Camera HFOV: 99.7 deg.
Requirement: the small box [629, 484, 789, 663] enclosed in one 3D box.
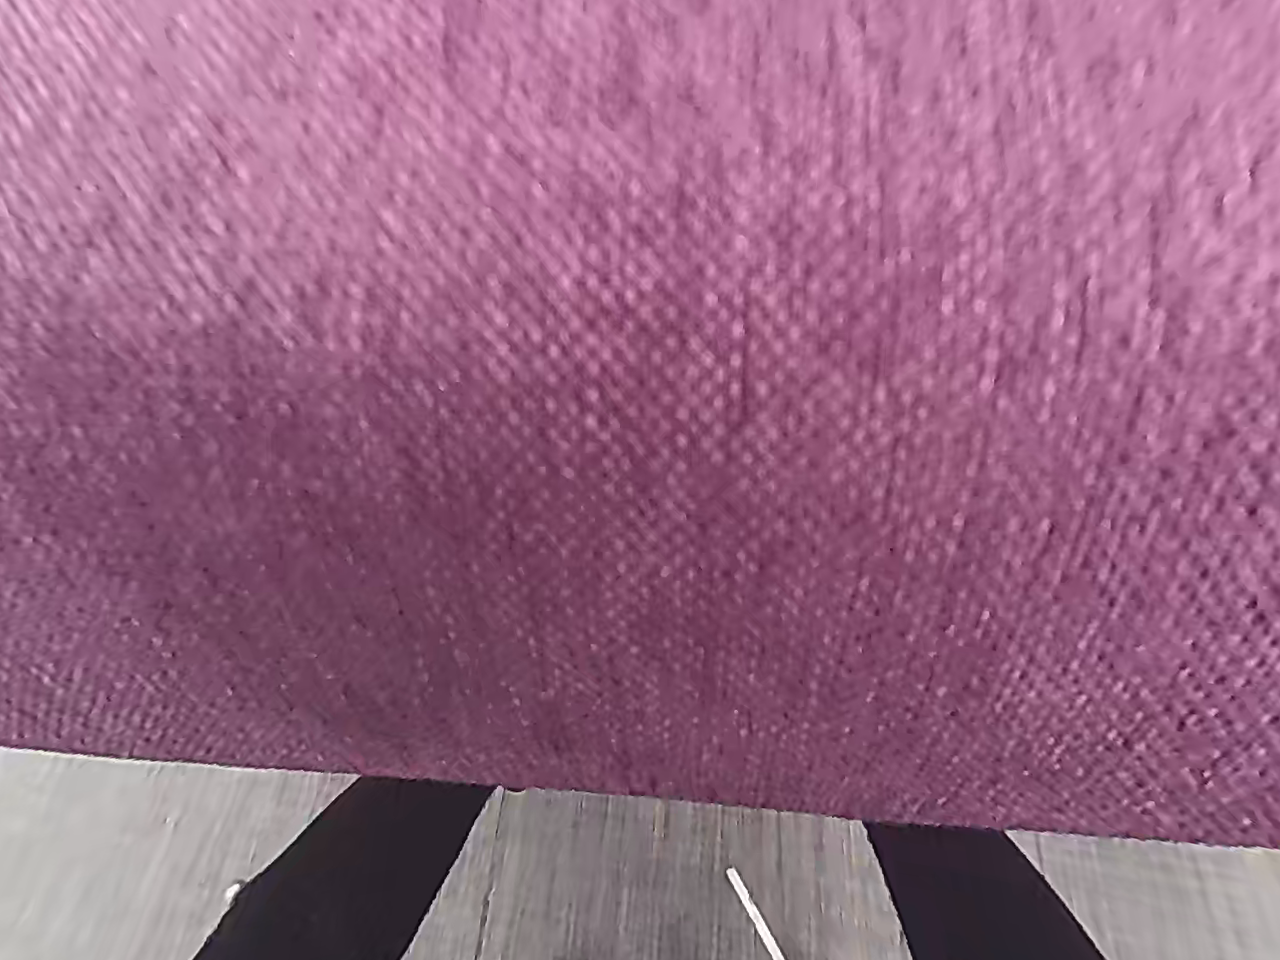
[{"bbox_3d":[0.093,0.121,0.669,0.168,0.176,0.179,3,65,12],"label":"small box"}]
